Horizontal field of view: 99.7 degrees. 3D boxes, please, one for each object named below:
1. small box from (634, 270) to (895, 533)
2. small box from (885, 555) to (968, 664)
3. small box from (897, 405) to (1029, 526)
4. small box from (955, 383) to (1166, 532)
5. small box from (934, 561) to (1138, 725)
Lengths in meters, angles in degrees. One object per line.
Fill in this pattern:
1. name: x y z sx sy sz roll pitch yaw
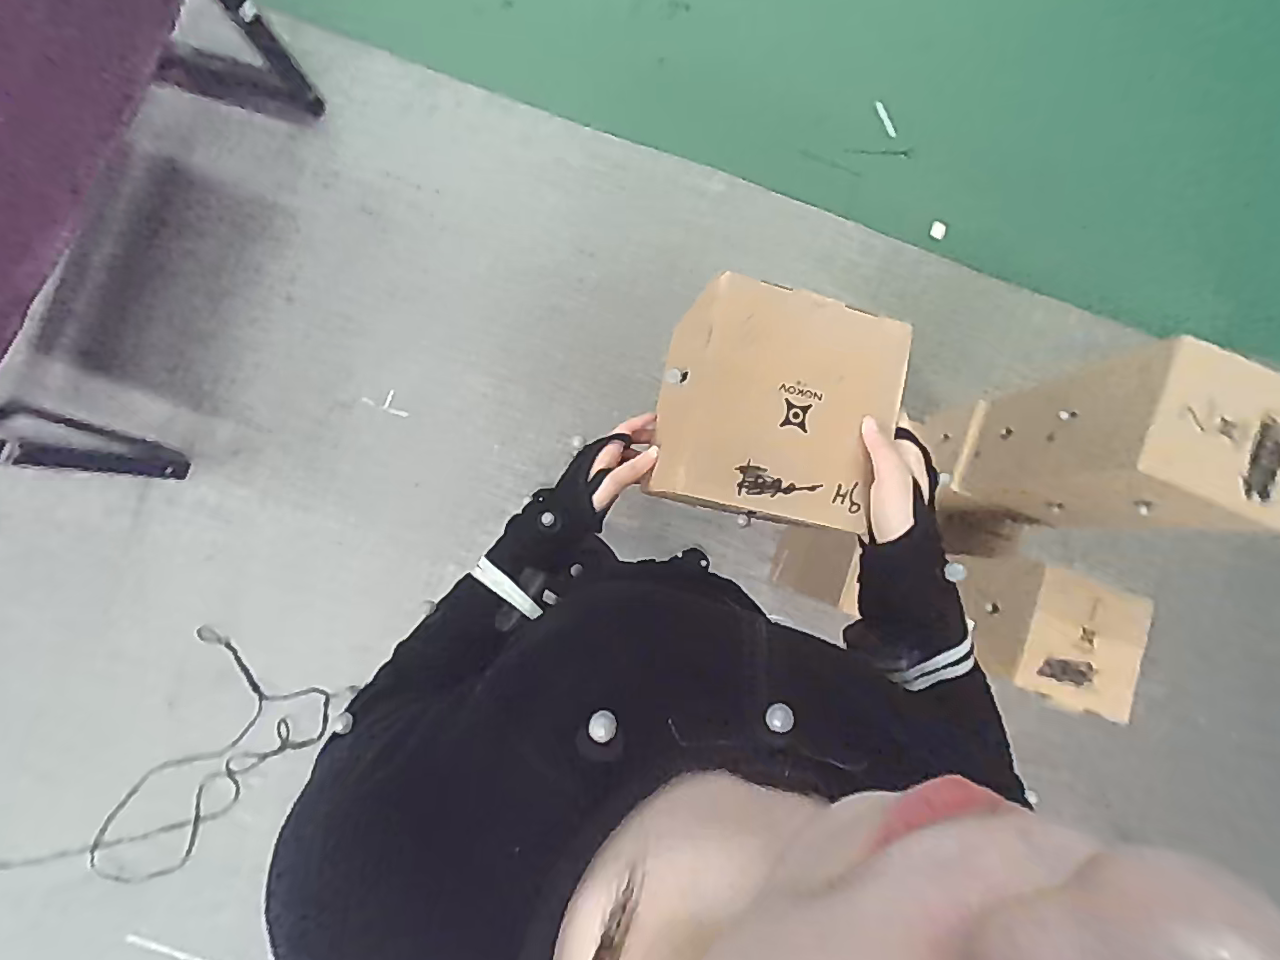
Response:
1. small box: 0.098 -0.058 0.498 0.168 0.176 0.179 12 87 -9
2. small box: 0.579 0.246 0.988 0.168 0.176 0.179 20 83 -2
3. small box: 0.619 -0.019 1.009 0.179 0.176 0.168 22 86 -1
4. small box: 0.639 -0.026 0.845 0.179 0.176 0.168 24 86 -1
5. small box: 0.587 0.235 0.825 0.168 0.176 0.179 21 83 -2
